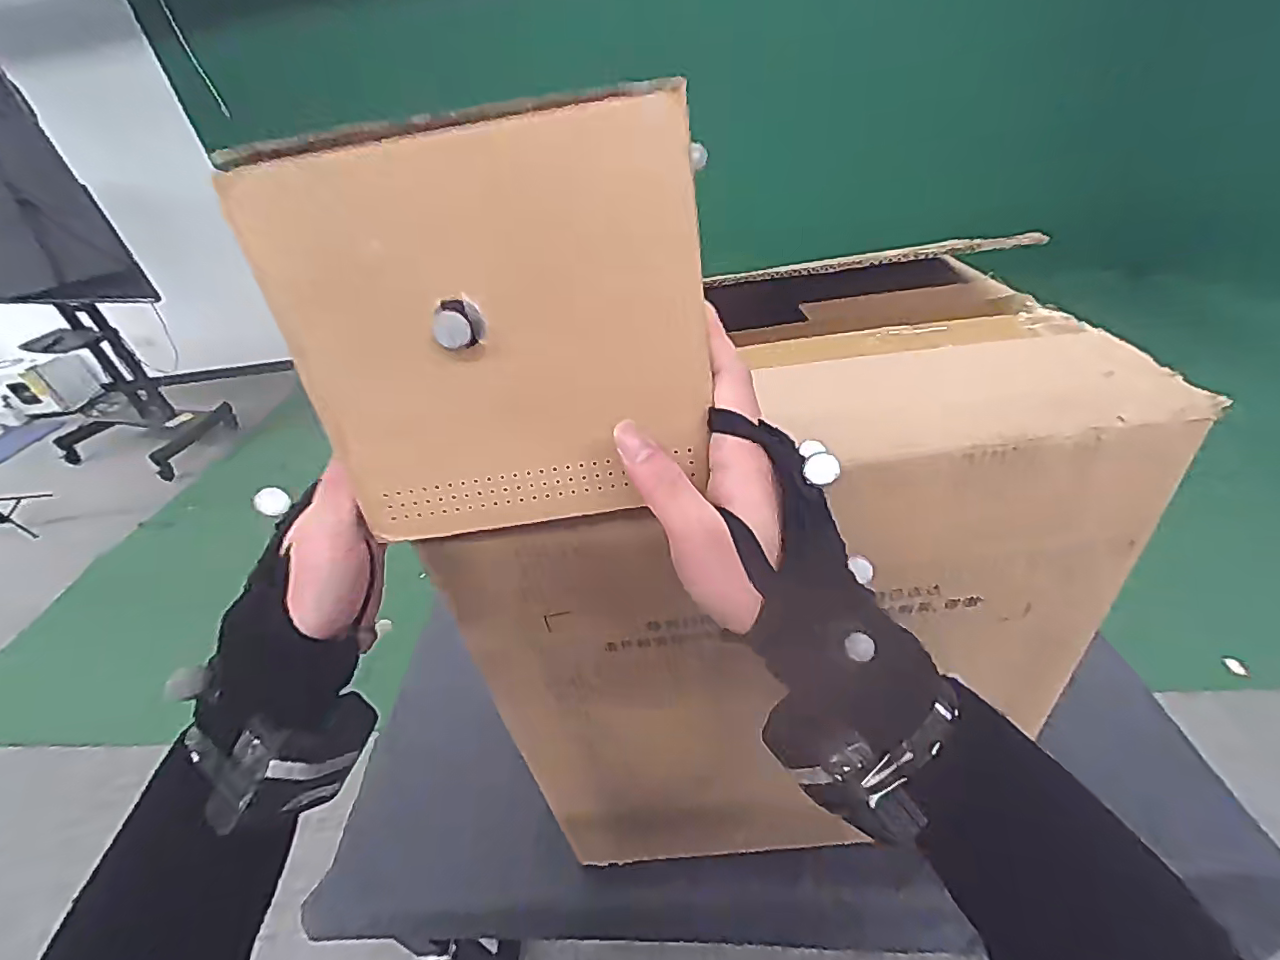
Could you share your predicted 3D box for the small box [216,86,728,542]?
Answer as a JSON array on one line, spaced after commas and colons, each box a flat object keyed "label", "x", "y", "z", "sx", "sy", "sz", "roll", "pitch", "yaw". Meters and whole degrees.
[{"label": "small box", "x": -0.058, "y": -0.082, "z": 0.295, "sx": 0.179, "sy": 0.176, "sz": 0.168, "roll": -9, "pitch": 27, "yaw": 2}]
